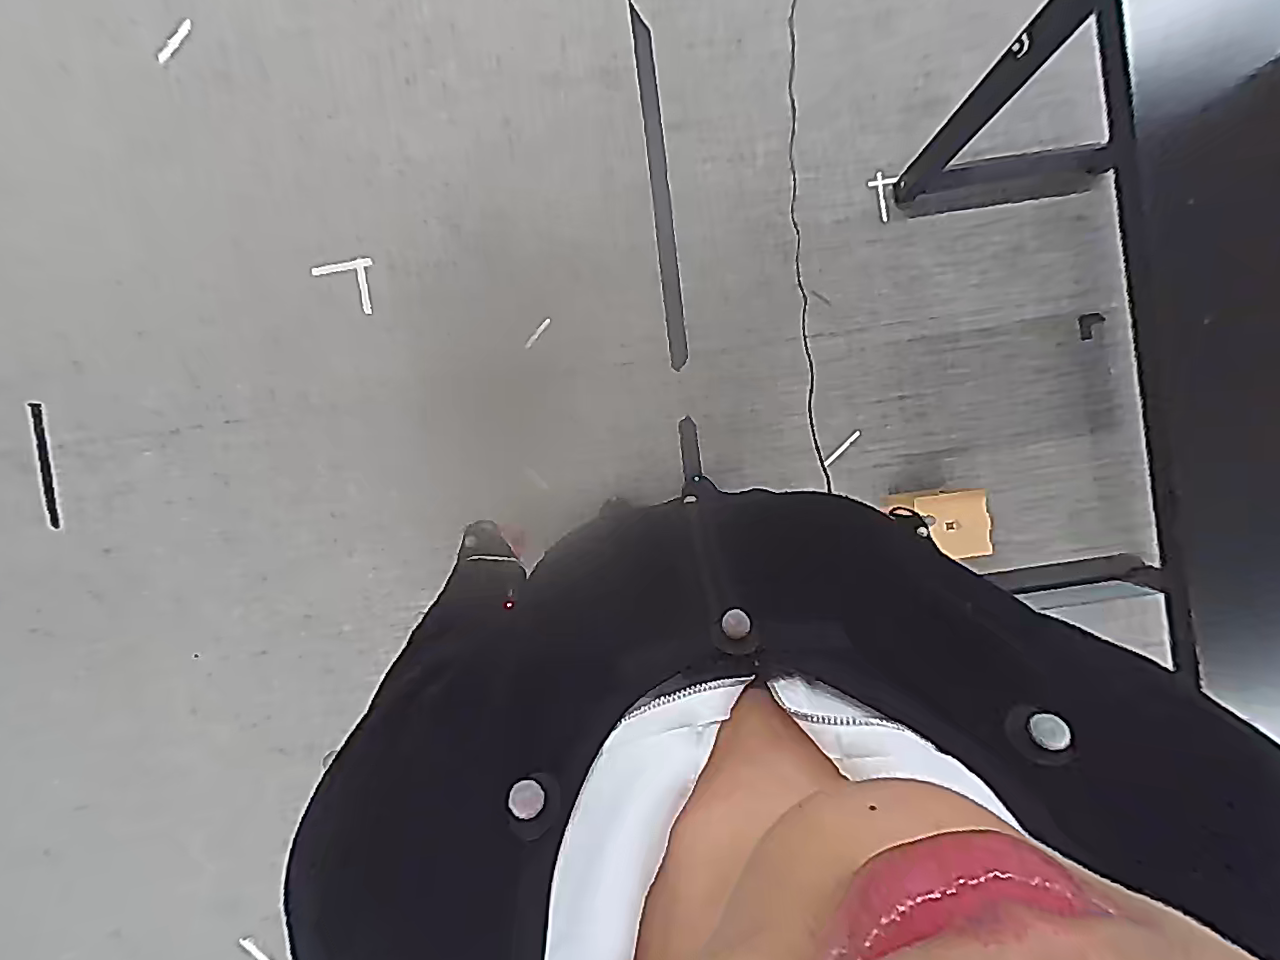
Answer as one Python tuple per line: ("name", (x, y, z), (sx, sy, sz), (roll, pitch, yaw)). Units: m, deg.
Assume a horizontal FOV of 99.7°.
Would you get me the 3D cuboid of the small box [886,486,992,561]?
("small box", (0.770, 0.107, 1.407), (0.179, 0.176, 0.168), (-8, 90, 1))
